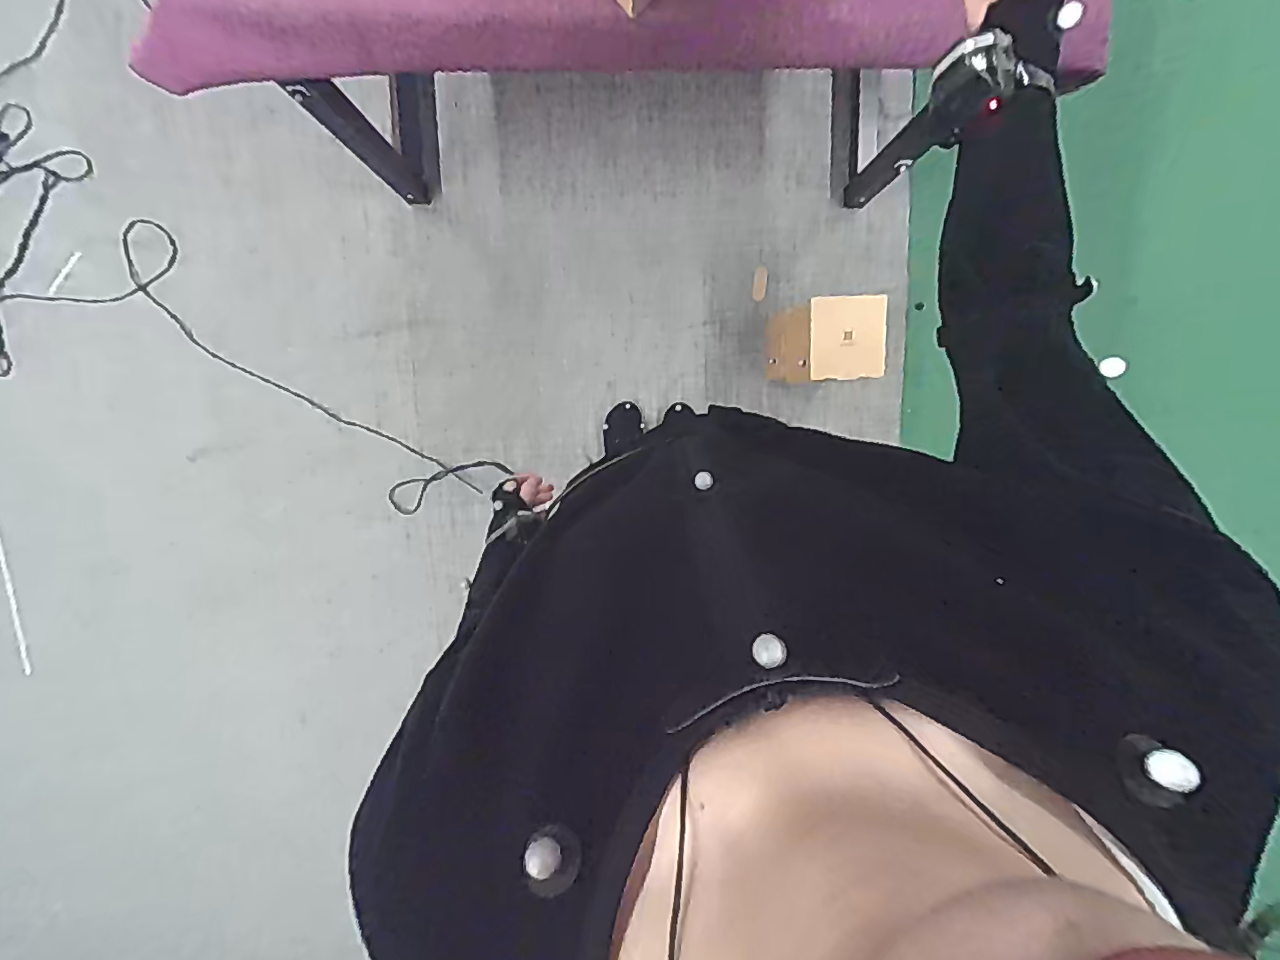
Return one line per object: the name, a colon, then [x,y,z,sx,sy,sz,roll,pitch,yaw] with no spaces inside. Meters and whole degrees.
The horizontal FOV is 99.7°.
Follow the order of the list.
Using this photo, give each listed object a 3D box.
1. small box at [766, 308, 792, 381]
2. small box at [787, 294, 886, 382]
small box: [0.428,-0.342,1.390,0.179,0.176,0.168,0,98,-2]
small box: [0.438,-0.316,1.231,0.168,0.176,0.179,-3,99,-1]
